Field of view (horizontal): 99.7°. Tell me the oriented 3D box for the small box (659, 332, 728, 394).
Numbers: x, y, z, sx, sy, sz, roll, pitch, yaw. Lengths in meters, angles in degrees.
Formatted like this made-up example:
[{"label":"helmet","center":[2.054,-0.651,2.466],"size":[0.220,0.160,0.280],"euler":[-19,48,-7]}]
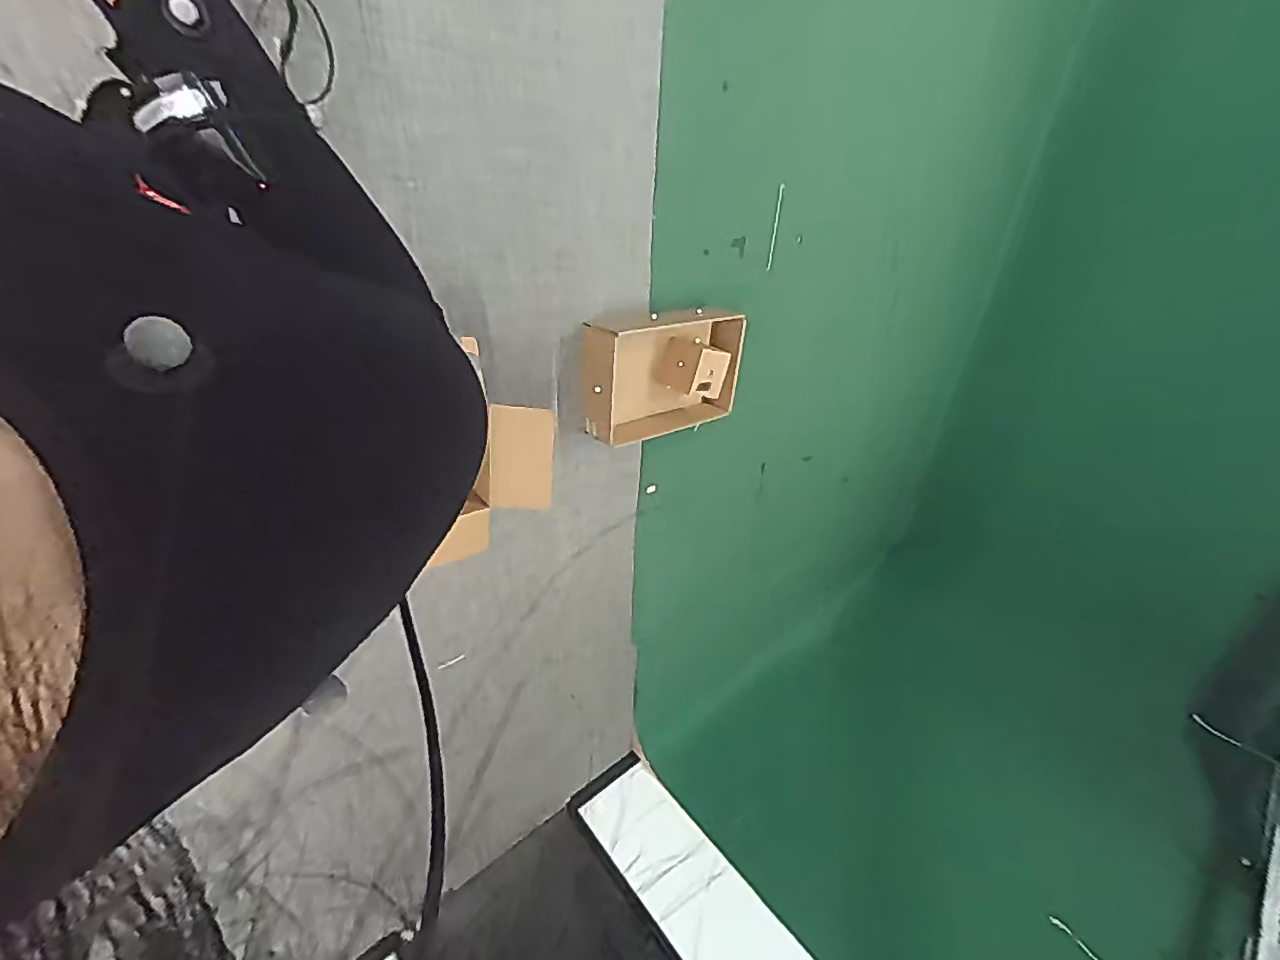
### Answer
[{"label":"small box","center":[0.192,-0.434,2.007],"size":[0.168,0.176,0.179],"euler":[-3,117,-43]}]
